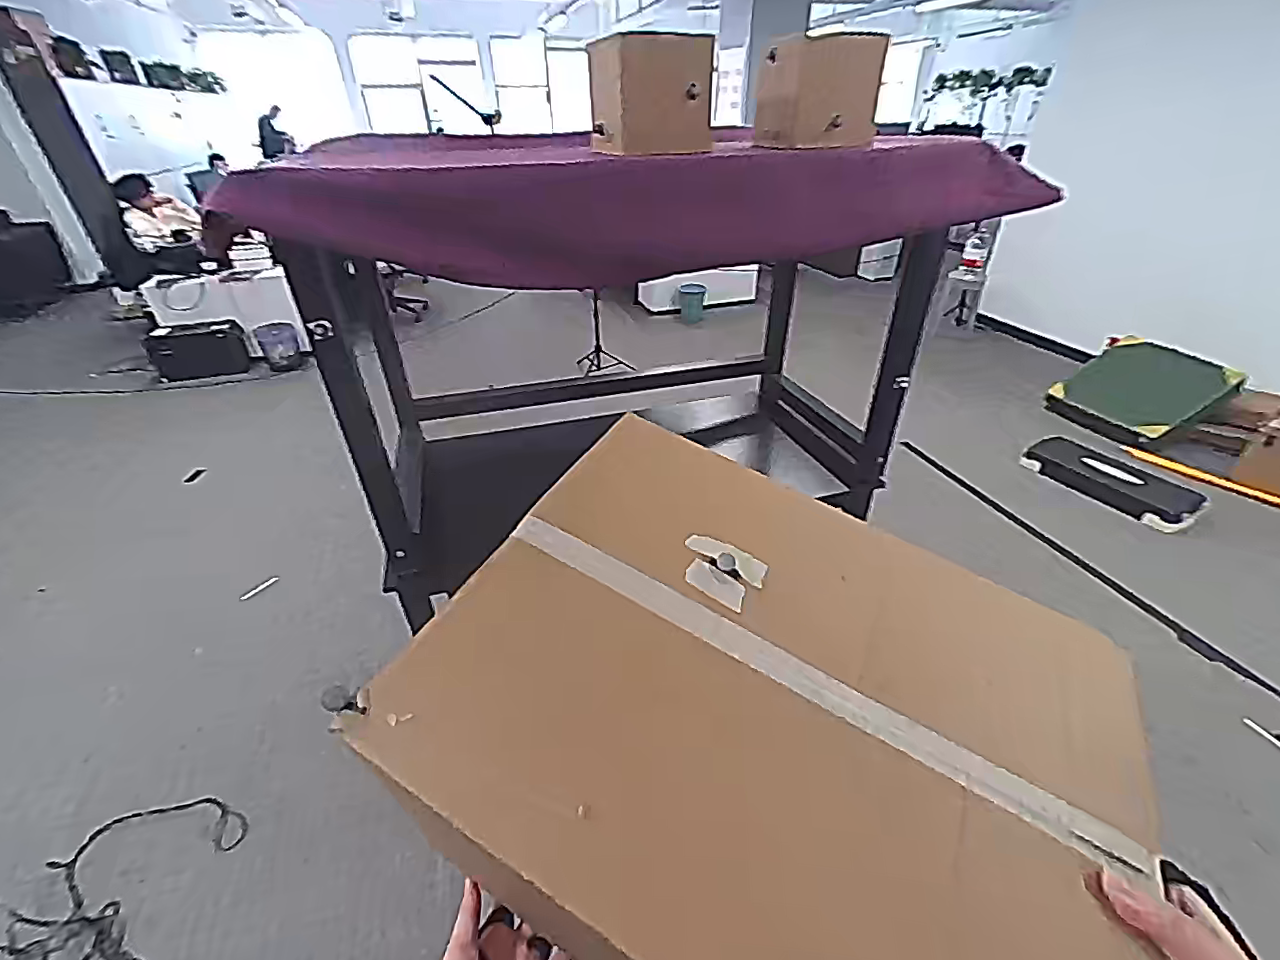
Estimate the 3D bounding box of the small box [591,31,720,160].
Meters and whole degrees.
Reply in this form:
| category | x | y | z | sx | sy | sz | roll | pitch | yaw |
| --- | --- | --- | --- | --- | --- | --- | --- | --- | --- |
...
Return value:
| category | x | y | z | sx | sy | sz | roll | pitch | yaw |
| --- | --- | --- | --- | --- | --- | --- | --- | --- | --- |
| small box | 0.023 | -0.673 | 0.956 | 0.179 | 0.176 | 0.168 | -15 | 35 | -18 |

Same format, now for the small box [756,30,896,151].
| category | x | y | z | sx | sy | sz | roll | pitch | yaw |
| --- | --- | --- | --- | --- | --- | --- | --- | --- | --- |
| small box | 0.337 | -0.724 | 1.016 | 0.179 | 0.176 | 0.168 | -10 | 34 | -13 |

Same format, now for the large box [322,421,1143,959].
| category | x | y | z | sx | sy | sz | roll | pitch | yaw |
| --- | --- | --- | --- | --- | --- | --- | --- | --- | --- |
| large box | 0.064 | 0.220 | 0.433 | 0.408 | 0.320 | 0.320 | 25 | 47 | 15 |
